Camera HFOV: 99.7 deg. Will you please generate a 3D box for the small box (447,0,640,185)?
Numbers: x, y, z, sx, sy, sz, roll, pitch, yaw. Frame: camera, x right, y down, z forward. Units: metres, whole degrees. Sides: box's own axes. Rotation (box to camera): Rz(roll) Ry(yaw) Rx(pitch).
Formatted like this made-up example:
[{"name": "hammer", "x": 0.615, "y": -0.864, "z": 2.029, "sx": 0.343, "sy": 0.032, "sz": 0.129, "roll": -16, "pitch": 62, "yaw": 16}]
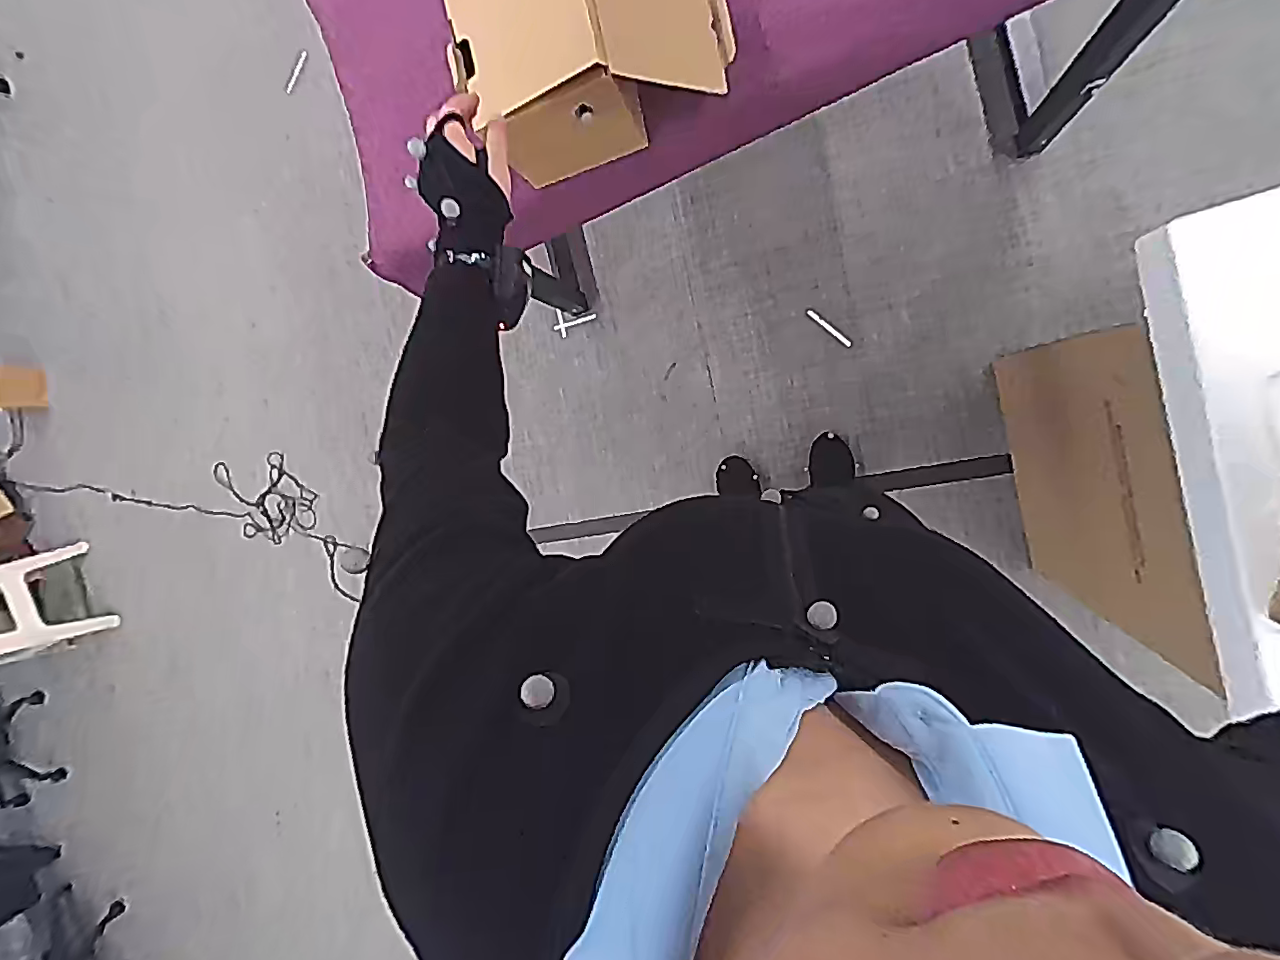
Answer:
[{"name": "small box", "x": -0.108, "y": -0.514, "z": 0.688, "sx": 0.179, "sy": 0.176, "sz": 0.168, "roll": -11, "pitch": 93, "yaw": 18}]
